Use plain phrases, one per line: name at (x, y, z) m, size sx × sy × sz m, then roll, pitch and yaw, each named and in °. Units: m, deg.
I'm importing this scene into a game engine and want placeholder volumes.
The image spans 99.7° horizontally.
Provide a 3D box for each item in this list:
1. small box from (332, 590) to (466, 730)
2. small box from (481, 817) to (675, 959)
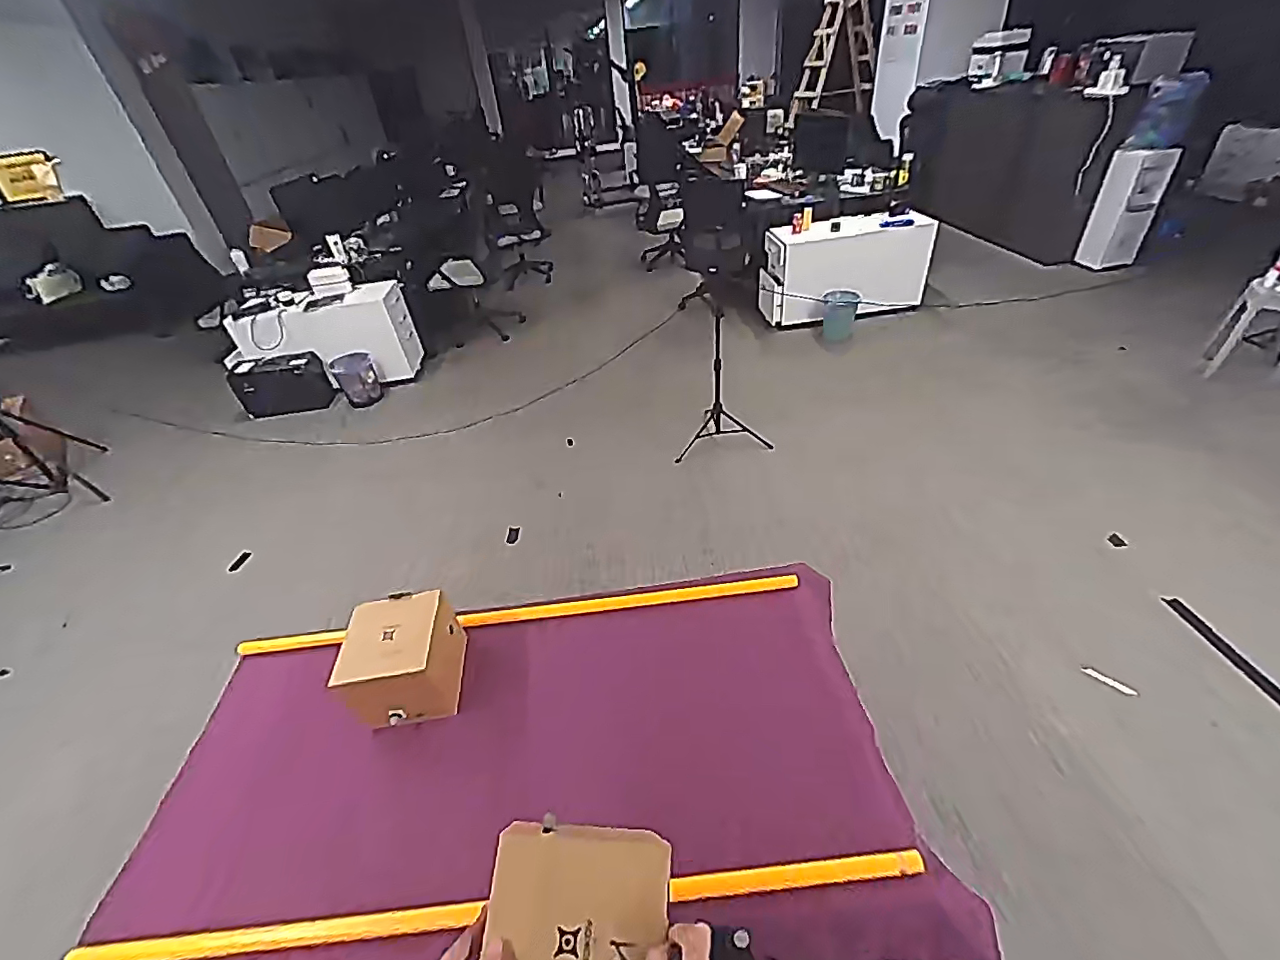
small box at (-0.438, 0.338, 1.018) m, size 0.168 × 0.176 × 0.179 m, roll -10°, pitch 39°, yaw -2°
small box at (-0.064, 0.464, 0.575) m, size 0.179 × 0.176 × 0.168 m, roll 7°, pitch 61°, yaw -4°
